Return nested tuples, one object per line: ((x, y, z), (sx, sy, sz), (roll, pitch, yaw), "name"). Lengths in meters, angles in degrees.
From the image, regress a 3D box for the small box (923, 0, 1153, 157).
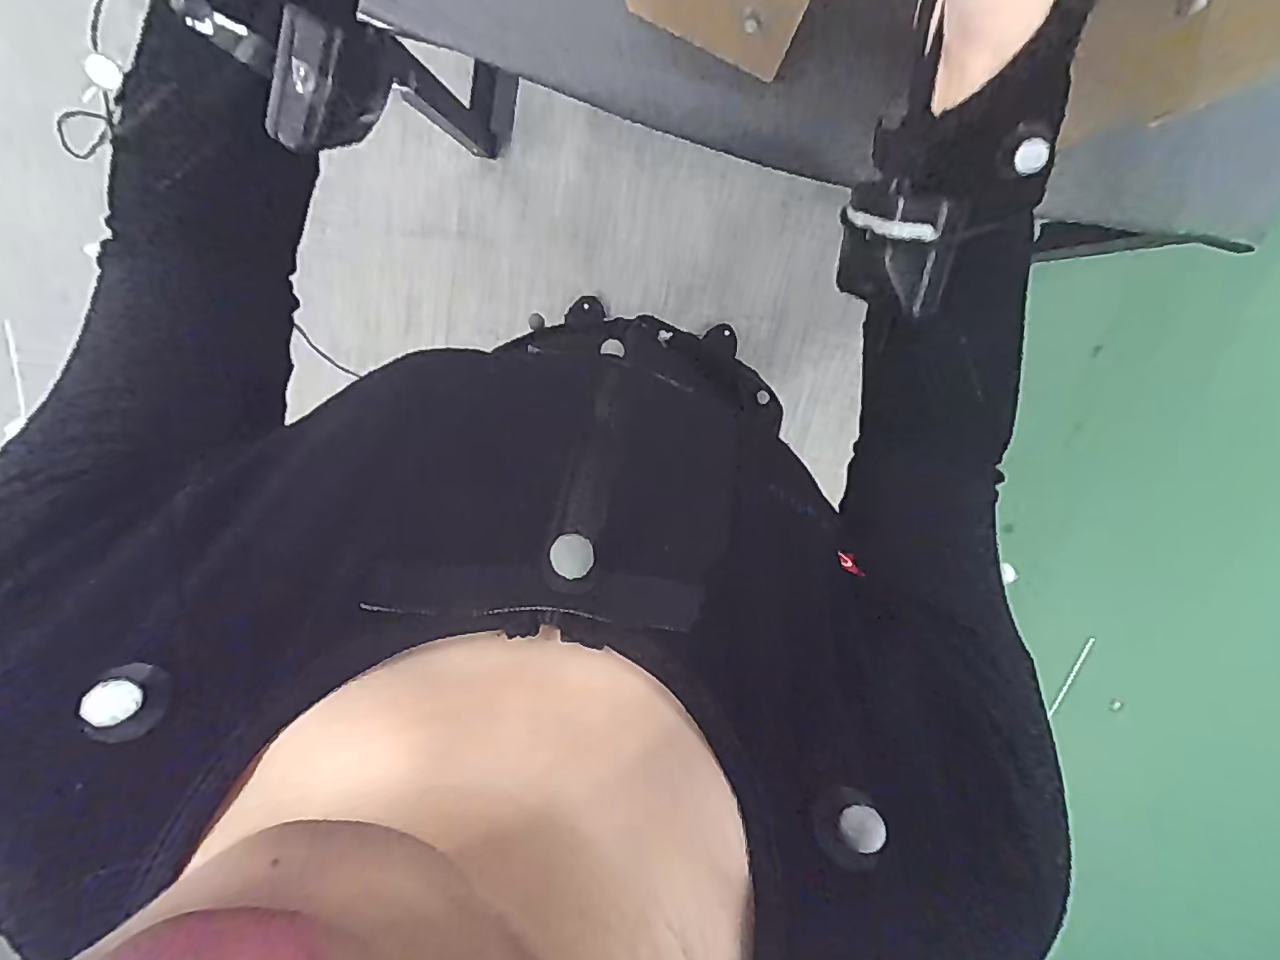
((0.400, -0.439, 0.504), (0.168, 0.176, 0.179), (15, 107, 0), "small box")
